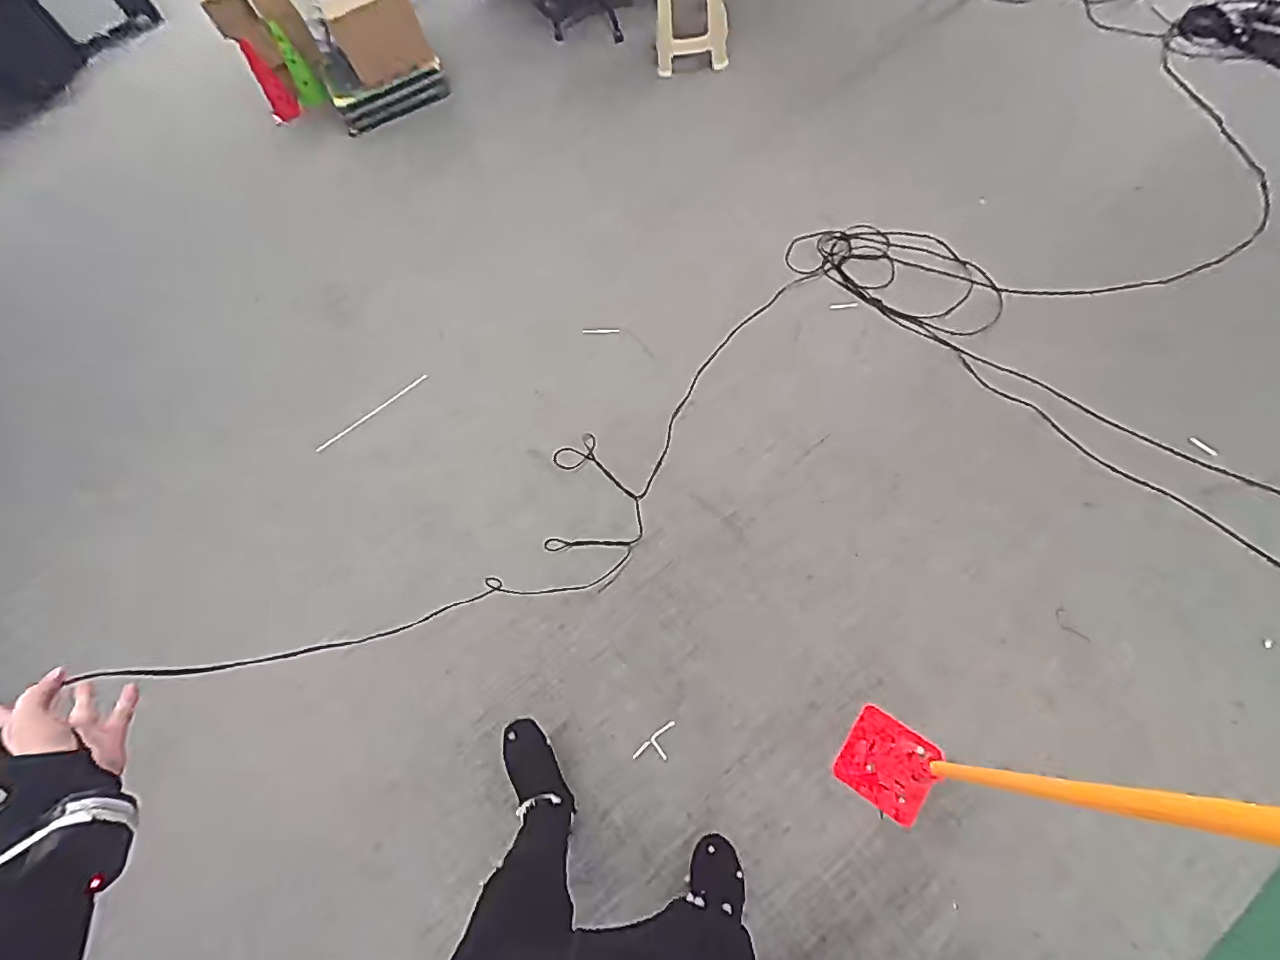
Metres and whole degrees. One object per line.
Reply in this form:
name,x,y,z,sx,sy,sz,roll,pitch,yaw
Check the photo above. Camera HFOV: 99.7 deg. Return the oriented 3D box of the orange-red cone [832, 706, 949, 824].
orange-red cone,0.567,0.601,1.144,0.198,0.360,0.199,33,72,21
